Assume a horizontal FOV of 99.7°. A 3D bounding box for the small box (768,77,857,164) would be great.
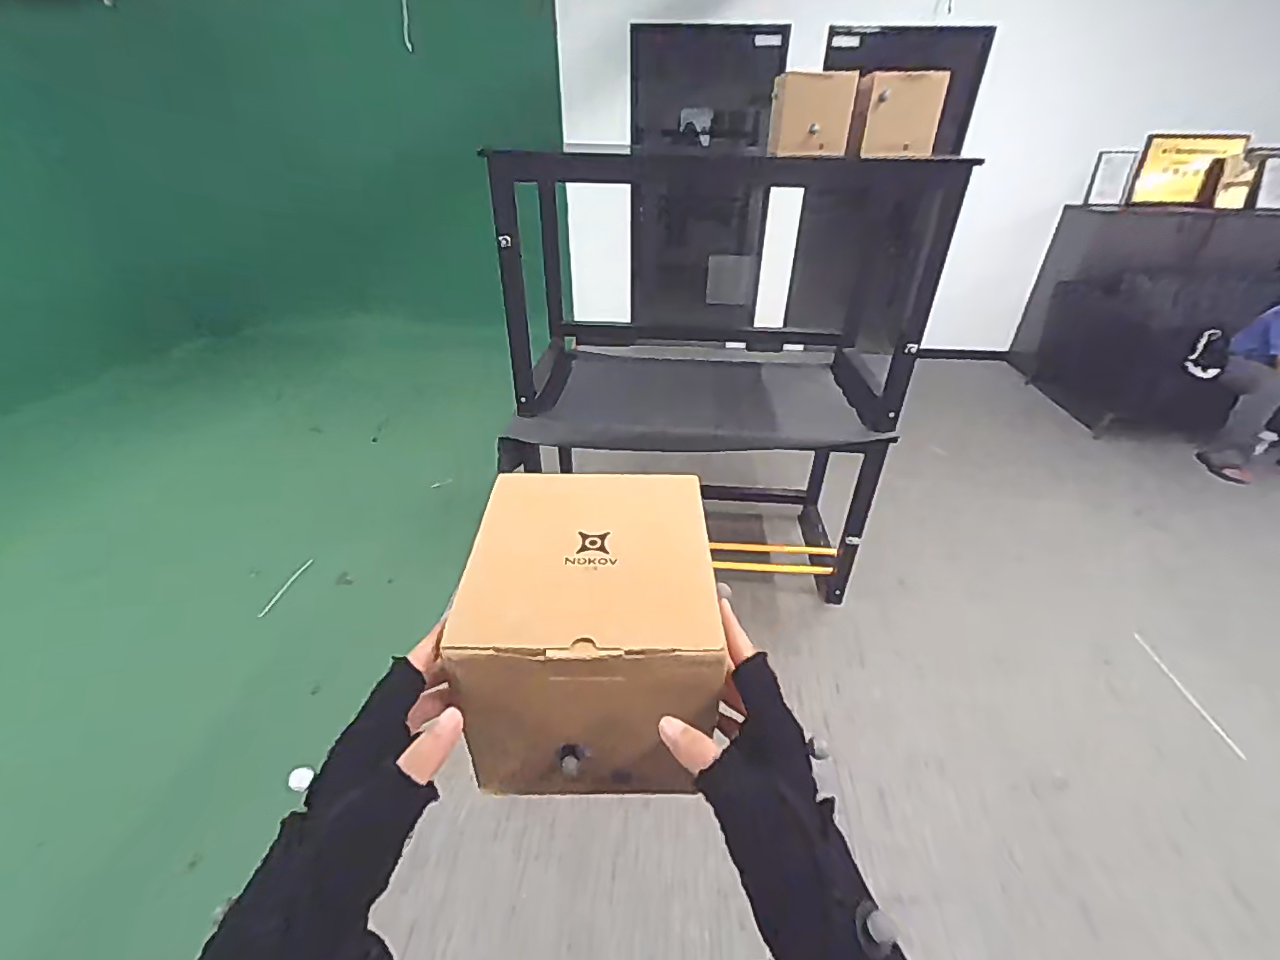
[{"bbox_3d":[0.424,-0.900,1.359,0.168,0.176,0.179,2,33,2],"label":"small box"}]
